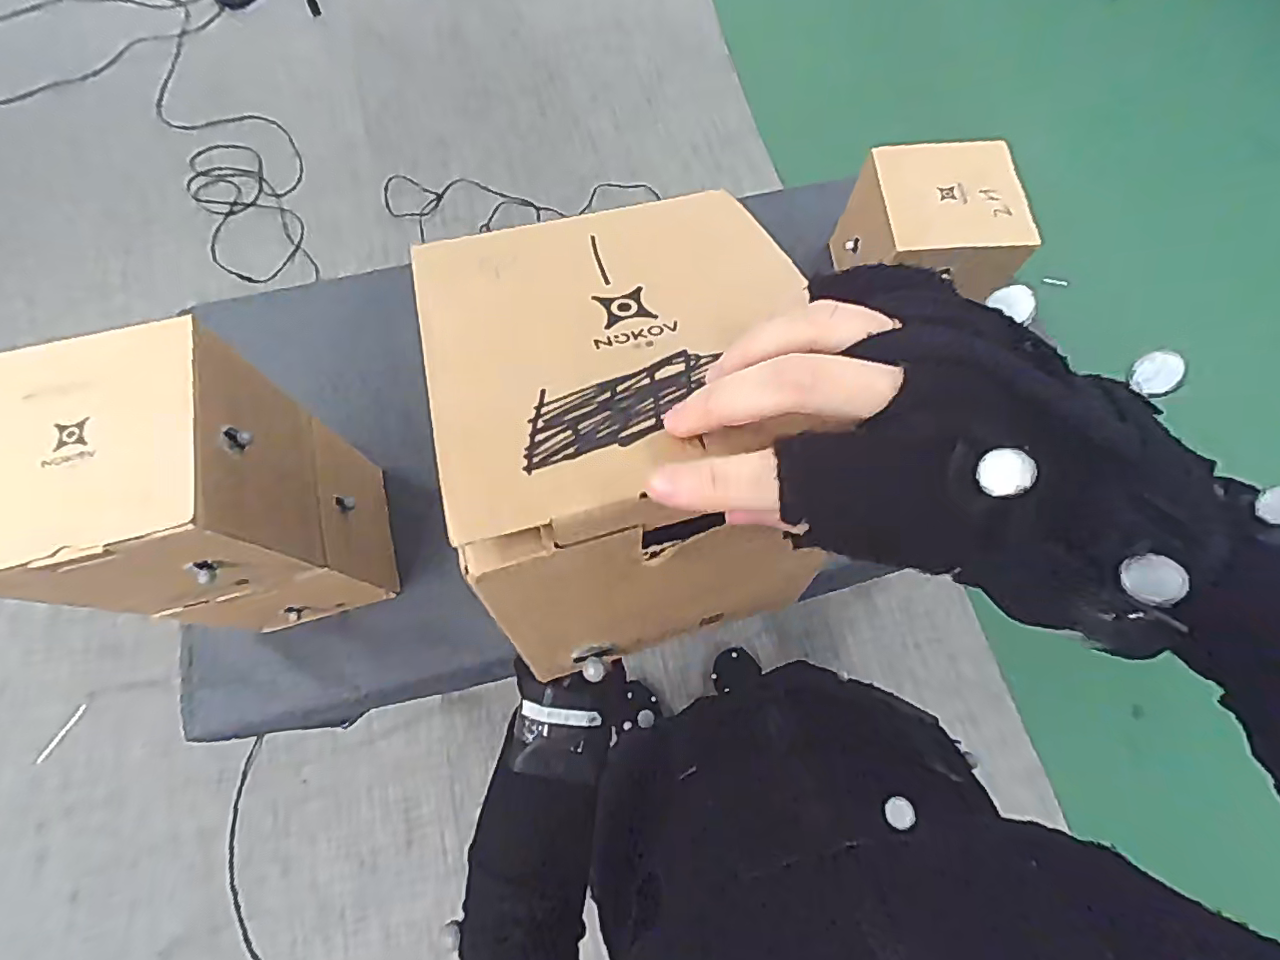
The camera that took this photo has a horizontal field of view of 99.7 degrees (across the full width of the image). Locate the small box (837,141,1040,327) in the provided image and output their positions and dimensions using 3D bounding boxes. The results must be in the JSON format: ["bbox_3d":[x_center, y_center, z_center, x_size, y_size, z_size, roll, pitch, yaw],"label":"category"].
[{"bbox_3d":[0.382,-0.323,0.735,0.179,0.176,0.168,-2,72,-1],"label":"small box"}]

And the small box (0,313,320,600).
[{"bbox_3d":[-0.395,-0.004,0.454,0.168,0.176,0.179,-14,71,-6],"label":"small box"}]

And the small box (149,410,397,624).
[{"bbox_3d":[-0.396,0.050,0.608,0.168,0.176,0.179,-15,72,-6],"label":"small box"}]

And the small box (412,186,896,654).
[{"bbox_3d":[-0.006,-0.020,0.294,0.168,0.176,0.179,-15,59,-9],"label":"small box"}]
